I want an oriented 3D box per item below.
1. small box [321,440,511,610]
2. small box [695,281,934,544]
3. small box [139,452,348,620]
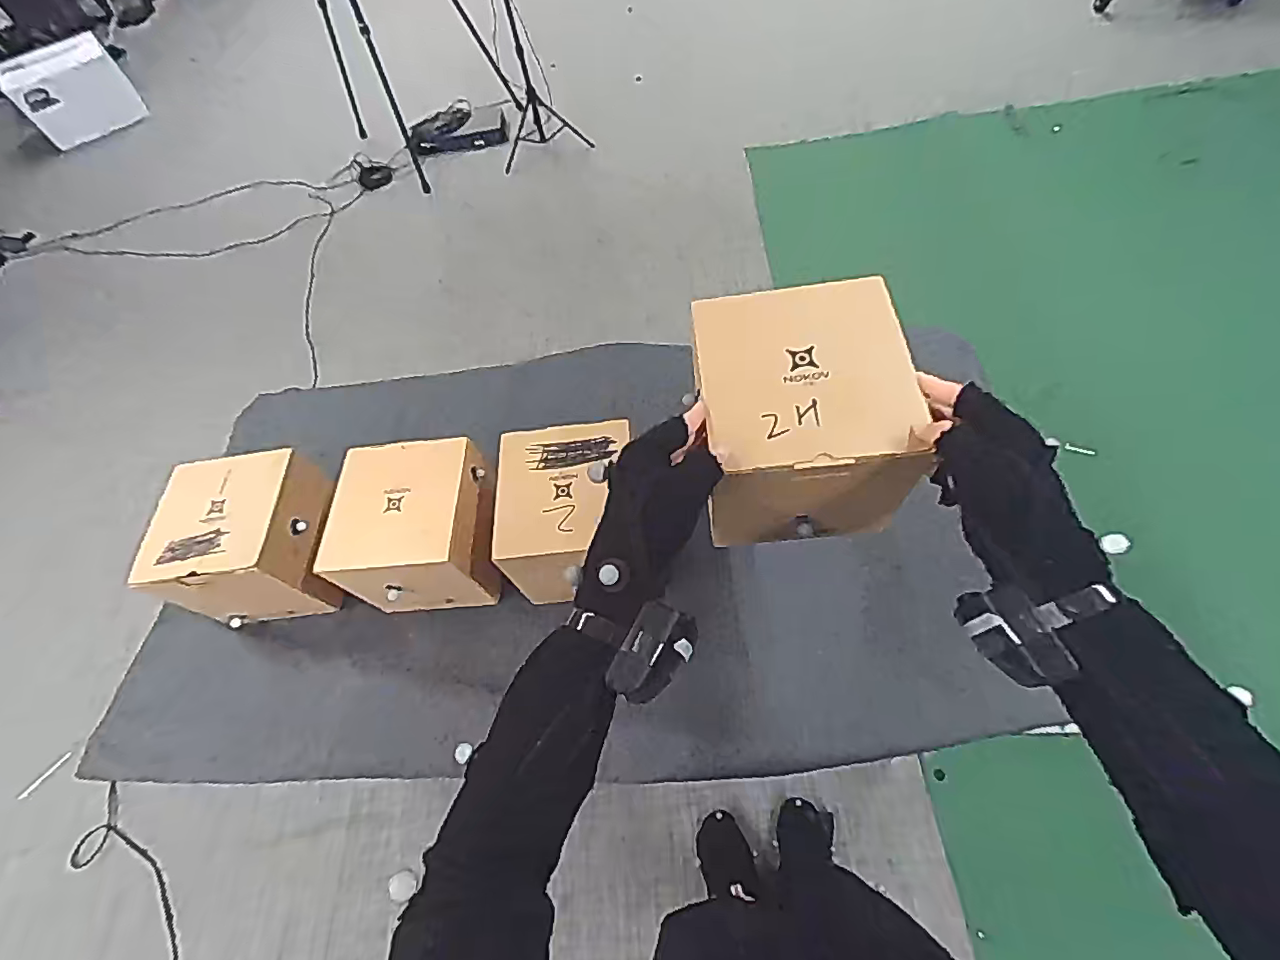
[{"bbox_3d":[-0.284,0.070,0.732,0.168,0.176,0.179,-6,58,5],"label":"small box"},{"bbox_3d":[0.142,-0.054,0.512,0.168,0.176,0.179,-6,63,6],"label":"small box"},{"bbox_3d":[-0.519,0.087,0.754,0.168,0.176,0.179,-8,58,3],"label":"small box"}]
